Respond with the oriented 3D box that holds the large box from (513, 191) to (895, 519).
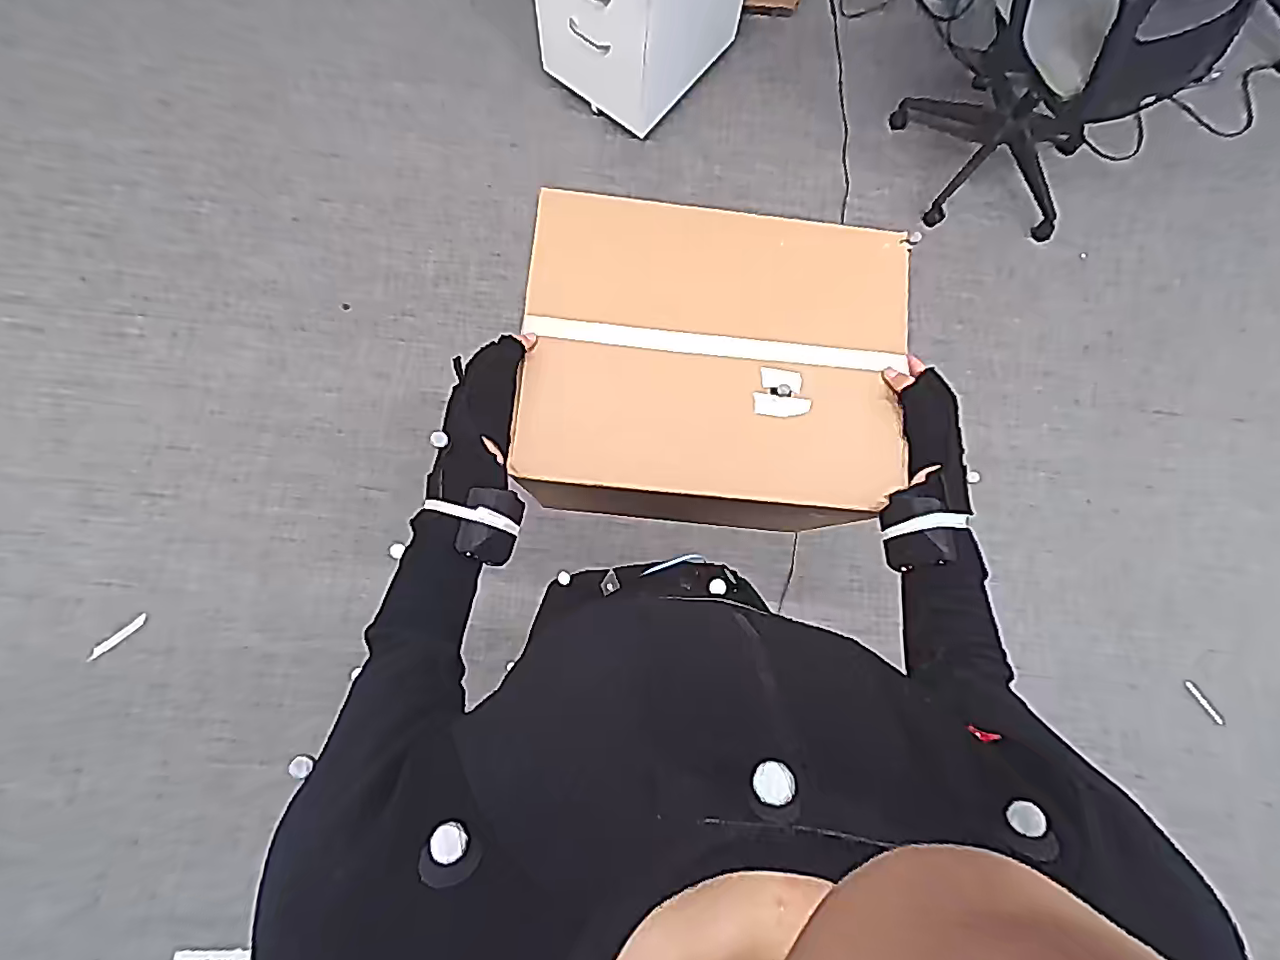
[{"bbox_3d":[0.065,-0.126,0.723,0.408,0.320,0.320,6,82,-4],"label":"large box"}]
